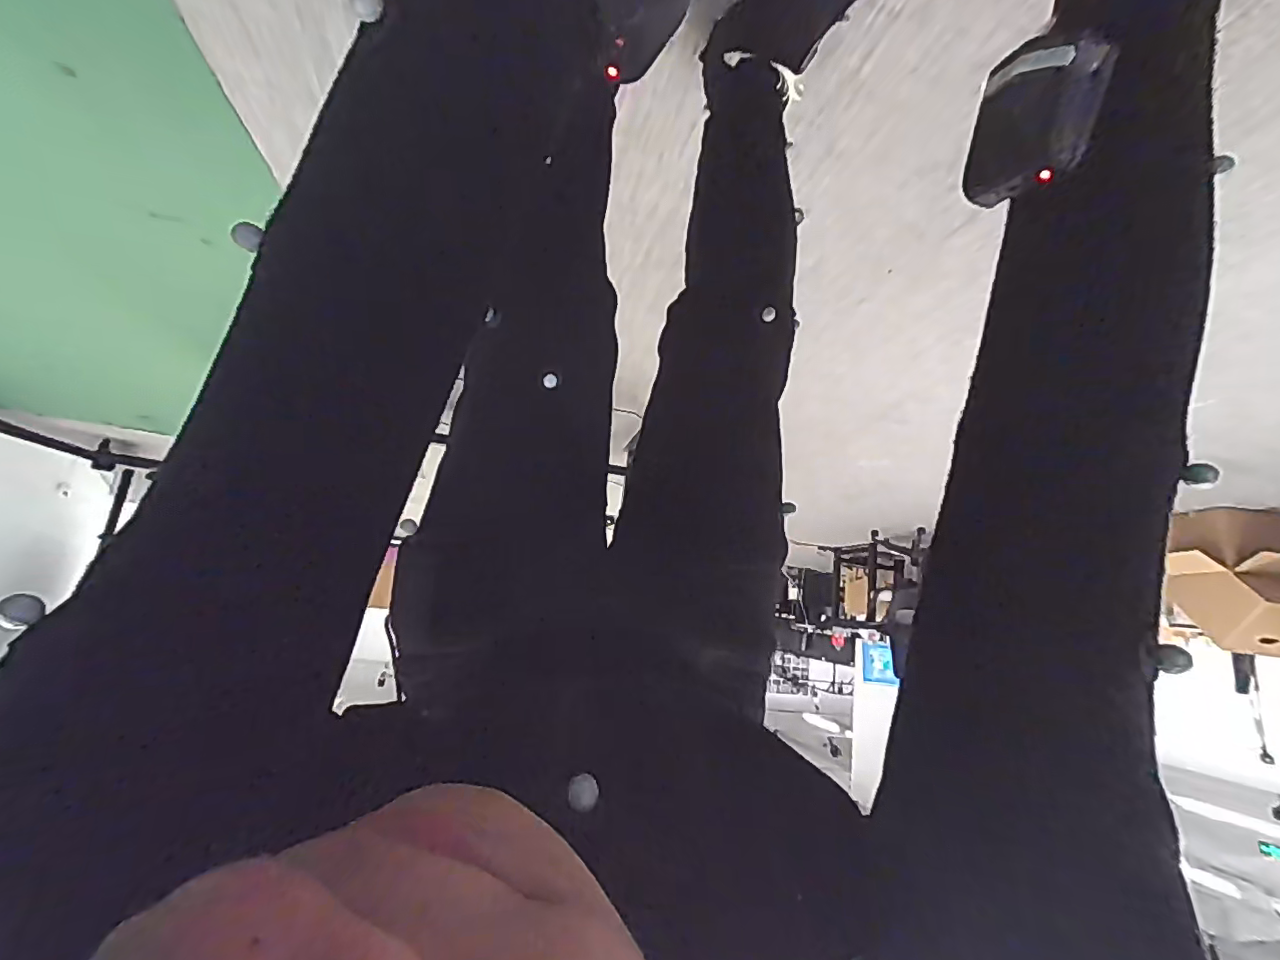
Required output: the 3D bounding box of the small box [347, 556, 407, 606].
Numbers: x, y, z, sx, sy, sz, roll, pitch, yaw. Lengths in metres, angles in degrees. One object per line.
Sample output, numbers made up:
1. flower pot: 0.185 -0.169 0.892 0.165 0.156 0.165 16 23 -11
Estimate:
1. small box: -0.971 0.372 2.007 0.168 0.176 0.179 10 169 -18
